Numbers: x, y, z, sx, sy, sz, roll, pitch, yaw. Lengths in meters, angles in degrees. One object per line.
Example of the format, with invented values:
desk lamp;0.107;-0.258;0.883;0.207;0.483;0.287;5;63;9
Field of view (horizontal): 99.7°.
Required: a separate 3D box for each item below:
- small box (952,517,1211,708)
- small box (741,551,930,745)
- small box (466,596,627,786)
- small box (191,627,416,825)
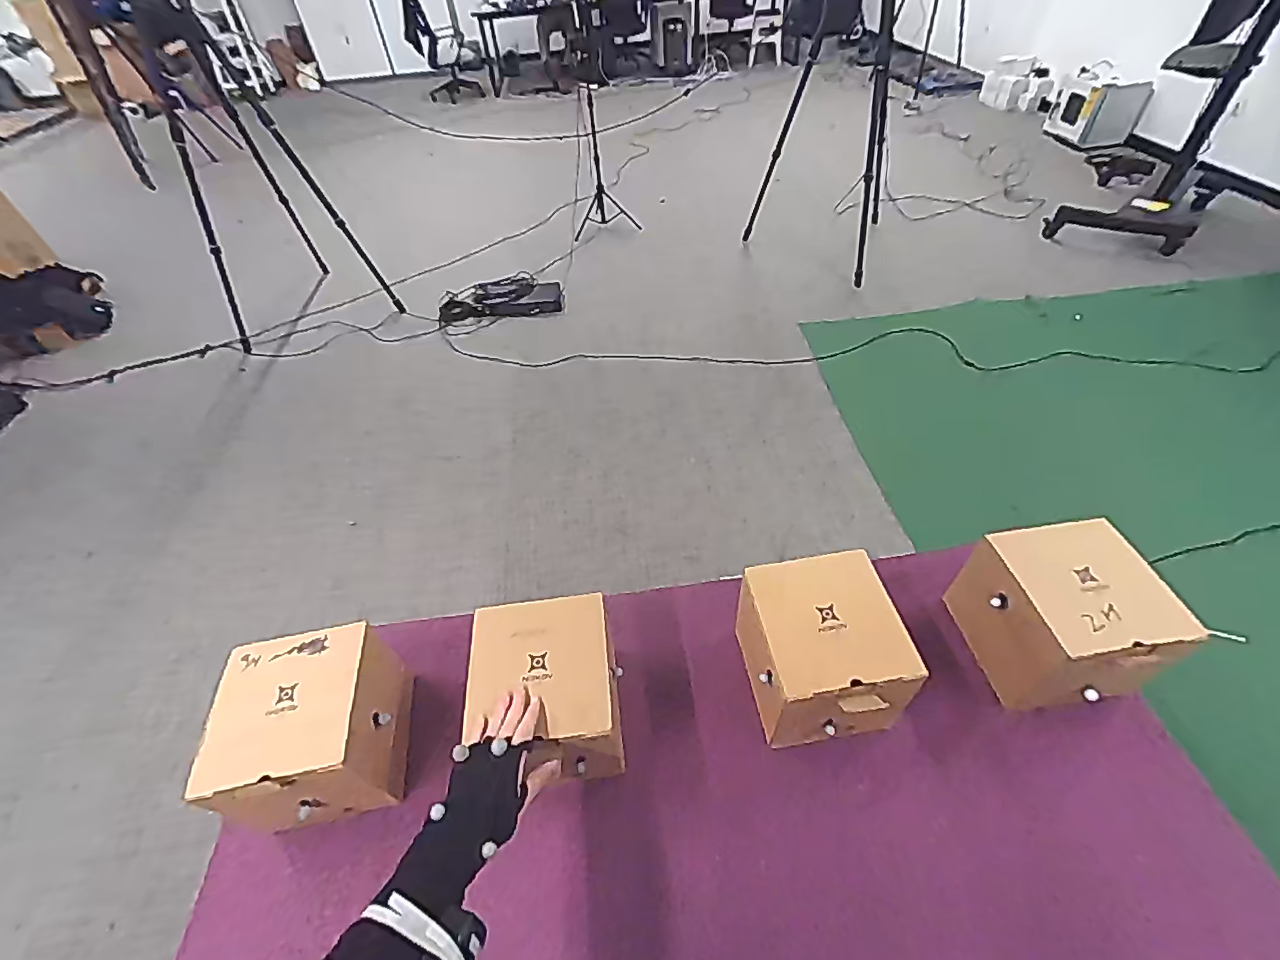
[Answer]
small box;0.551;0.175;0.713;0.168;0.176;0.179;-8;47;0
small box;0.236;0.220;0.709;0.168;0.176;0.179;-9;48;-3
small box;-0.110;0.275;0.694;0.168;0.176;0.179;-7;47;-2
small box;-0.400;0.316;0.683;0.168;0.176;0.179;-10;48;-5
